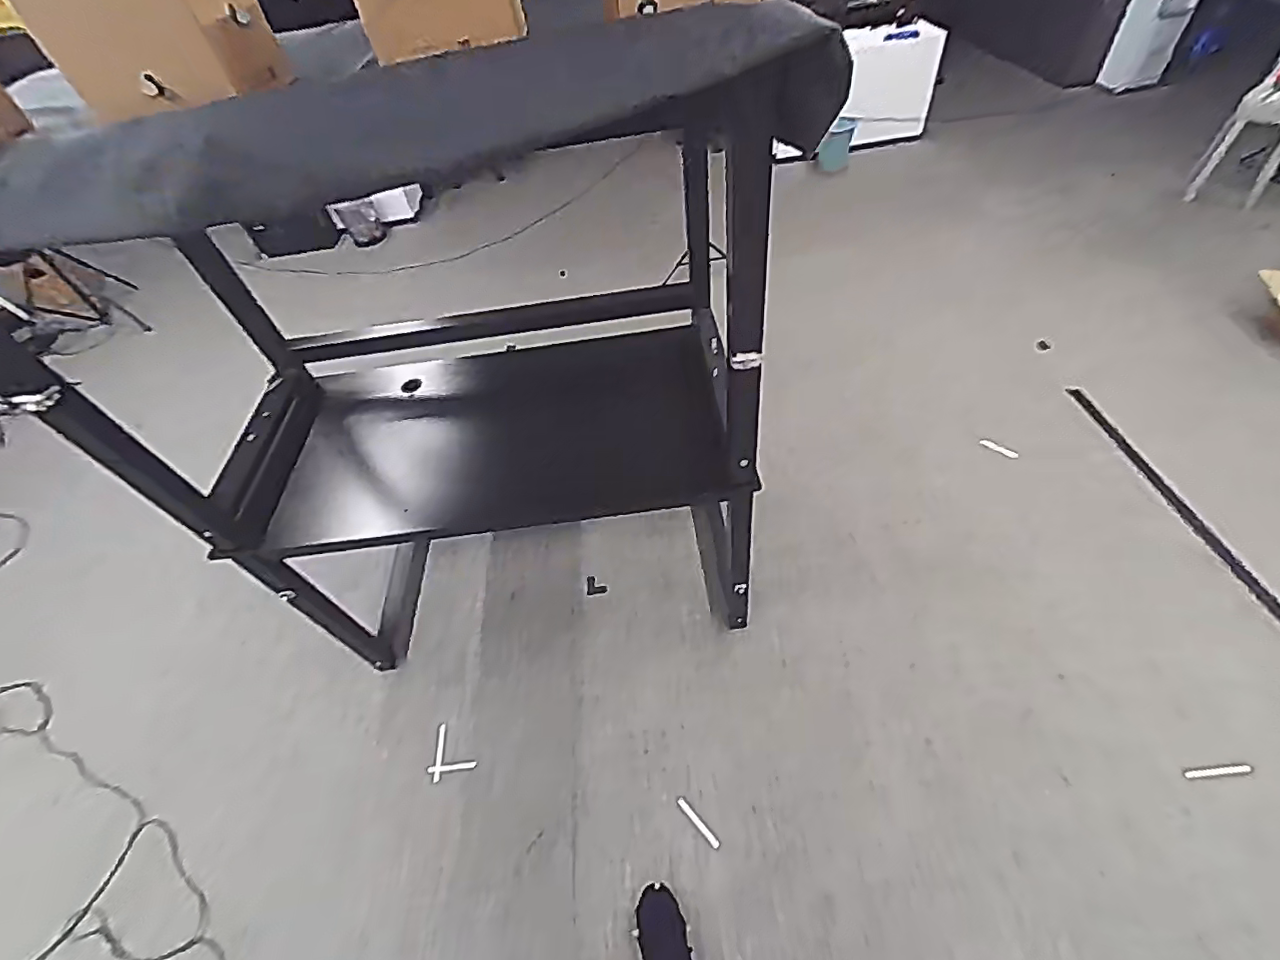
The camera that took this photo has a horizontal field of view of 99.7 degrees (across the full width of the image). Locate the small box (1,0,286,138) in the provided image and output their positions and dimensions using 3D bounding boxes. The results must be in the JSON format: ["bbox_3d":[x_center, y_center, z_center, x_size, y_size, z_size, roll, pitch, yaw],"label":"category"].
[{"bbox_3d":[-0.561,-0.525,0.627,0.179,0.176,0.168,-8,48,1],"label":"small box"}]

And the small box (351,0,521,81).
[{"bbox_3d":[-0.244,-0.595,0.637,0.168,0.176,0.179,-10,48,1],"label":"small box"}]
